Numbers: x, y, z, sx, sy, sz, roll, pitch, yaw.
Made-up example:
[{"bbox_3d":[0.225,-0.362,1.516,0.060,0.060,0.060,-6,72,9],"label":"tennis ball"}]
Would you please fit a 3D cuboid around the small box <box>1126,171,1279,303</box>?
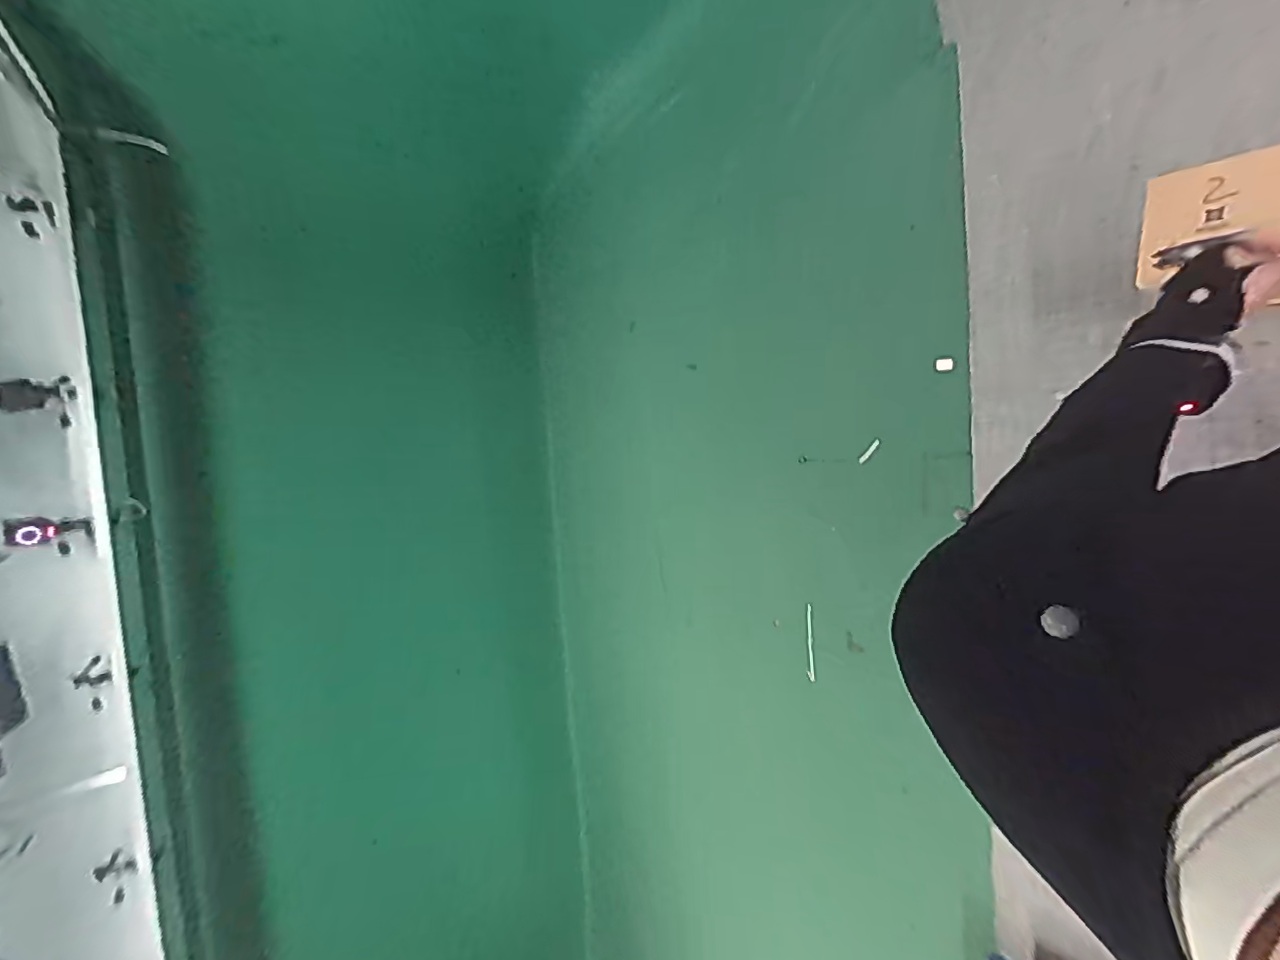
[{"bbox_3d":[1.053,-0.431,0.975,0.179,0.176,0.168,52,137,39],"label":"small box"}]
